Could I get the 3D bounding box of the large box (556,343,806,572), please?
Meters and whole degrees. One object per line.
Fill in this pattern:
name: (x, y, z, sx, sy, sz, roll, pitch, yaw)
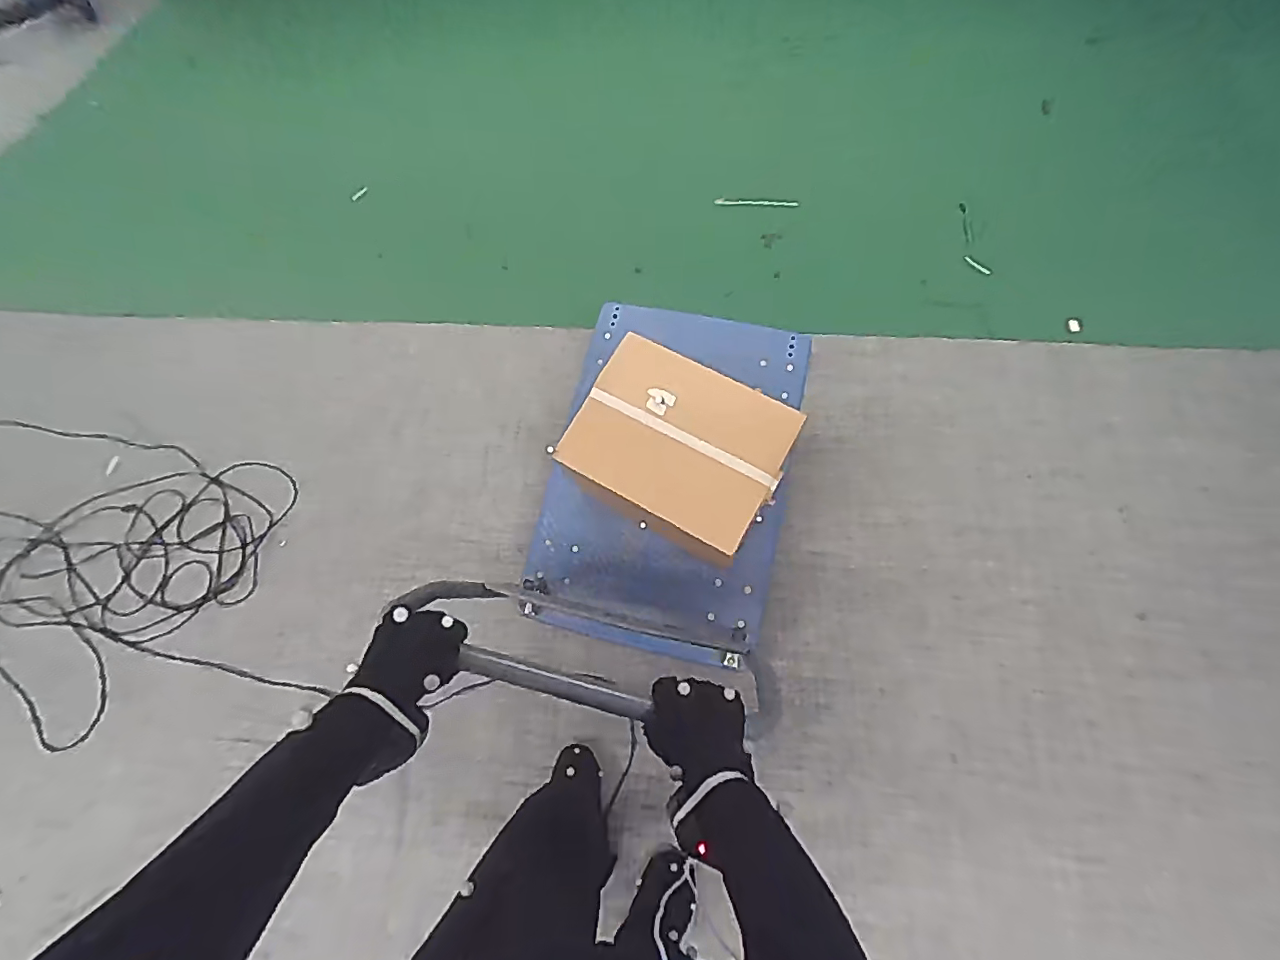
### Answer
large box: (0.095, -0.032, 1.192, 0.408, 0.320, 0.320, 28, 80, 14)
